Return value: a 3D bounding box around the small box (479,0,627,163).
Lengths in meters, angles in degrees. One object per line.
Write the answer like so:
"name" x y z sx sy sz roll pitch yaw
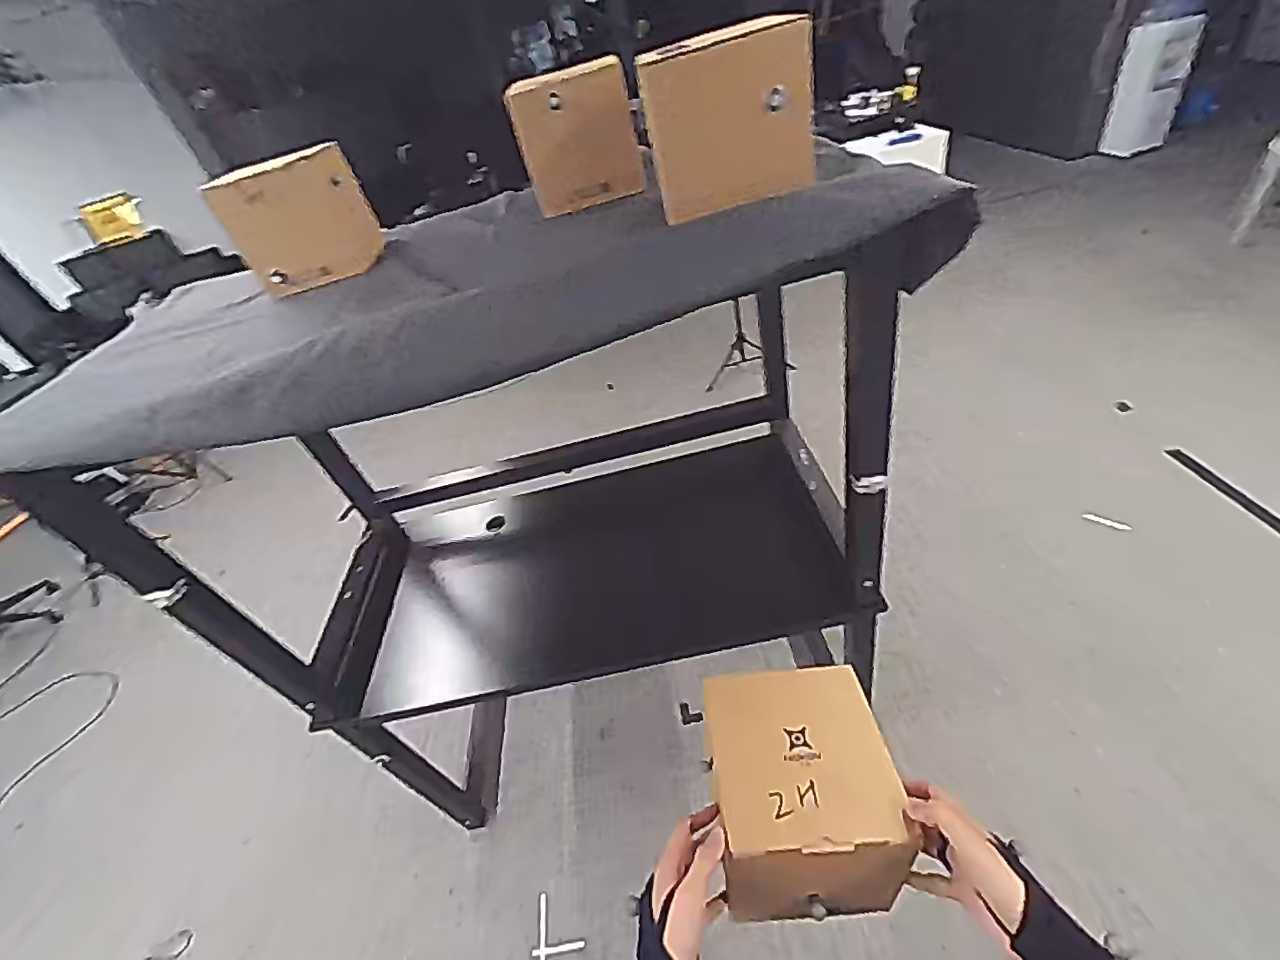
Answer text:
"small box" -0.121 -0.597 0.813 0.168 0.176 0.179 -14 40 5

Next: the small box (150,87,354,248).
"small box" -0.578 -0.481 0.840 0.168 0.176 0.179 -16 40 1
